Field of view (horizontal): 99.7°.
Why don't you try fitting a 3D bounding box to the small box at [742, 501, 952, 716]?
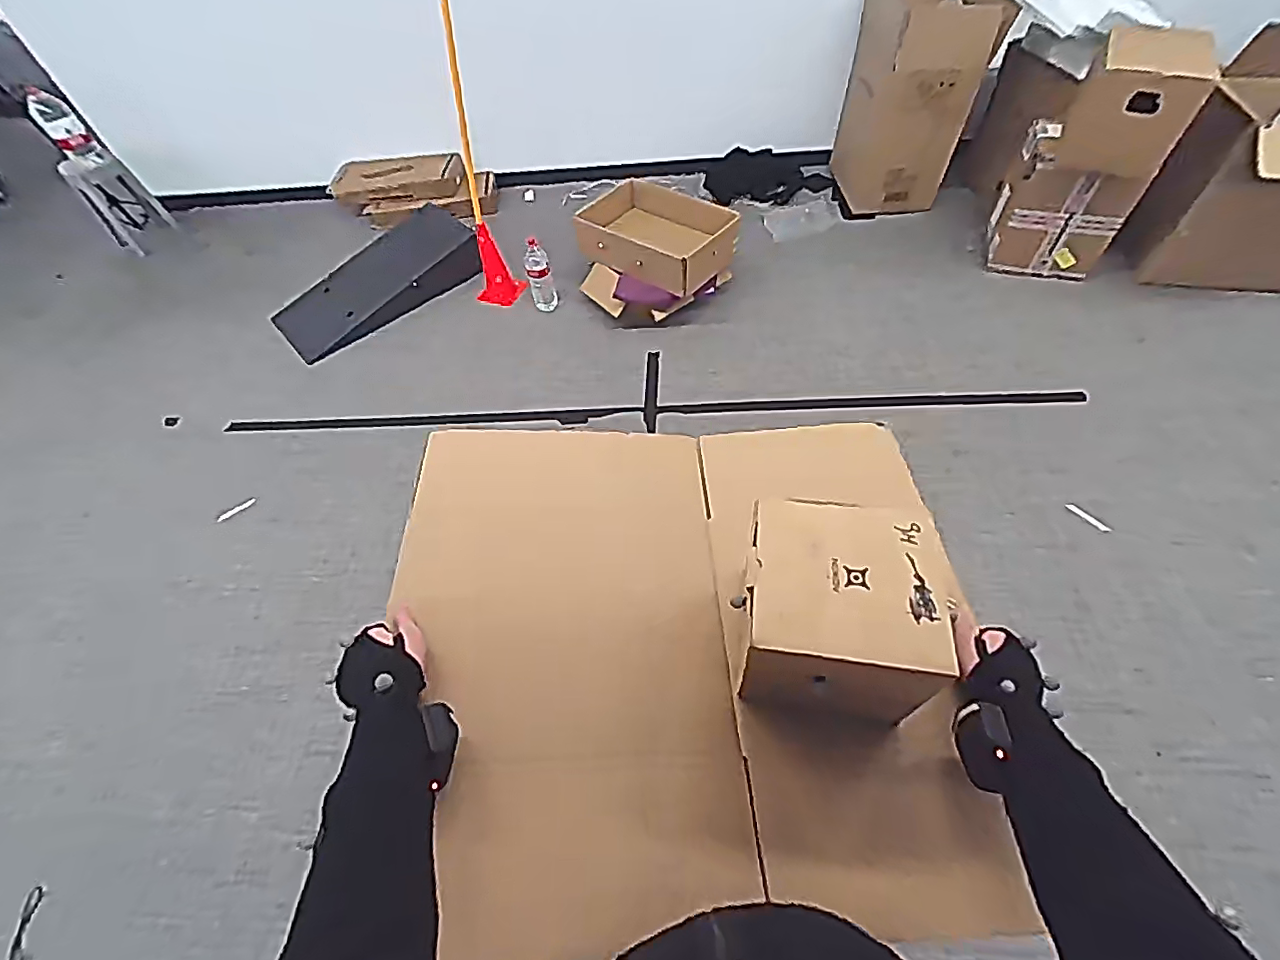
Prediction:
[{"bbox_3d":[0.205,0.142,0.585,0.179,0.176,0.168,5,54,11],"label":"small box"}]
